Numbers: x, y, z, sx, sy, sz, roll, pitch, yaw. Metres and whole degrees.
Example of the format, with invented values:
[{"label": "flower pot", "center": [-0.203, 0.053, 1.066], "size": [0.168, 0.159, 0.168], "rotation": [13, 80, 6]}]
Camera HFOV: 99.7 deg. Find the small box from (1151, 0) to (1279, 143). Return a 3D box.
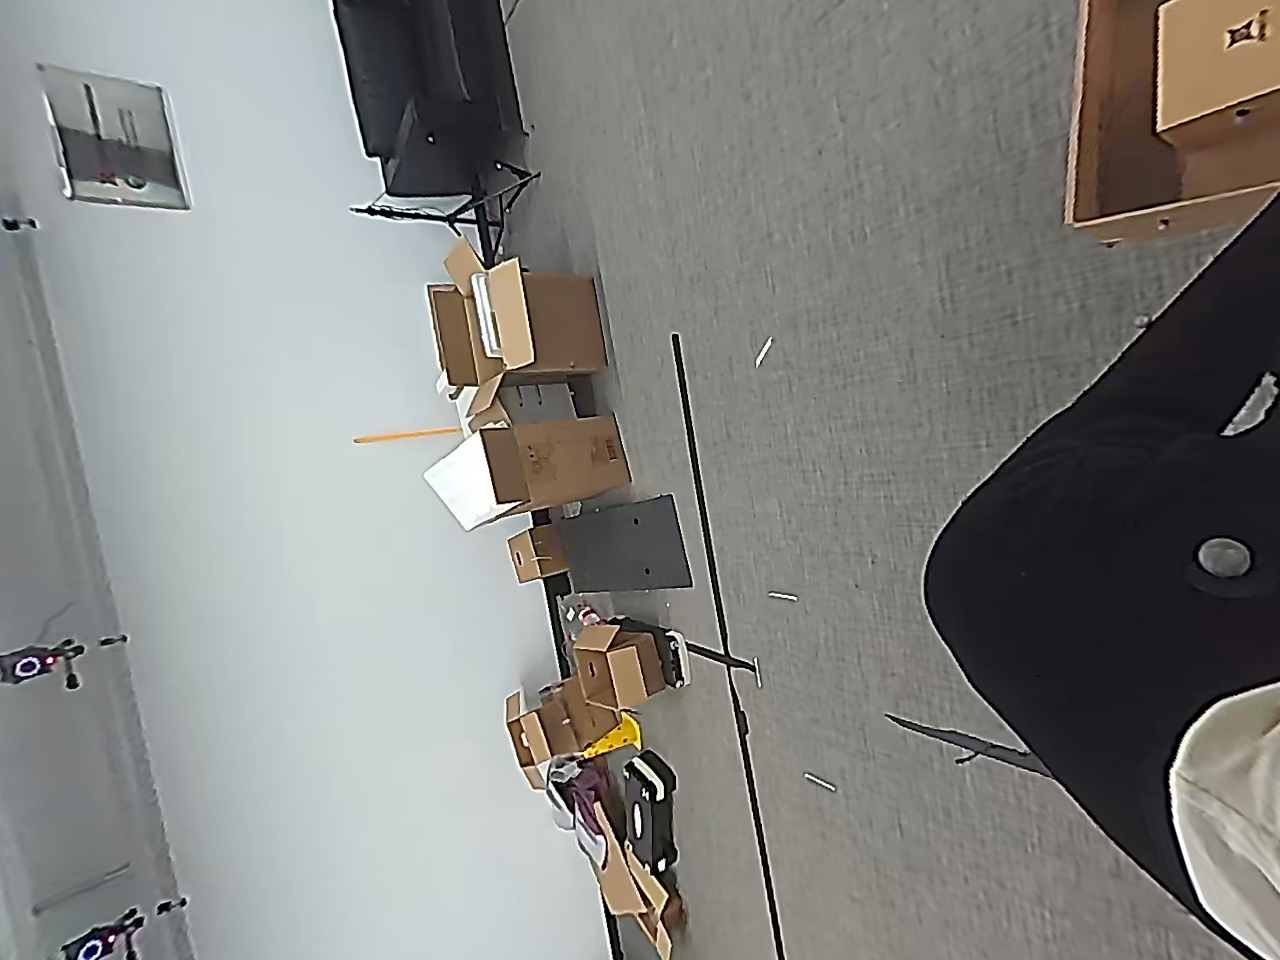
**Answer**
[{"label": "small box", "center": [0.833, -0.587, 0.730], "size": [0.179, 0.176, 0.168], "rotation": [5, 104, 54]}]
